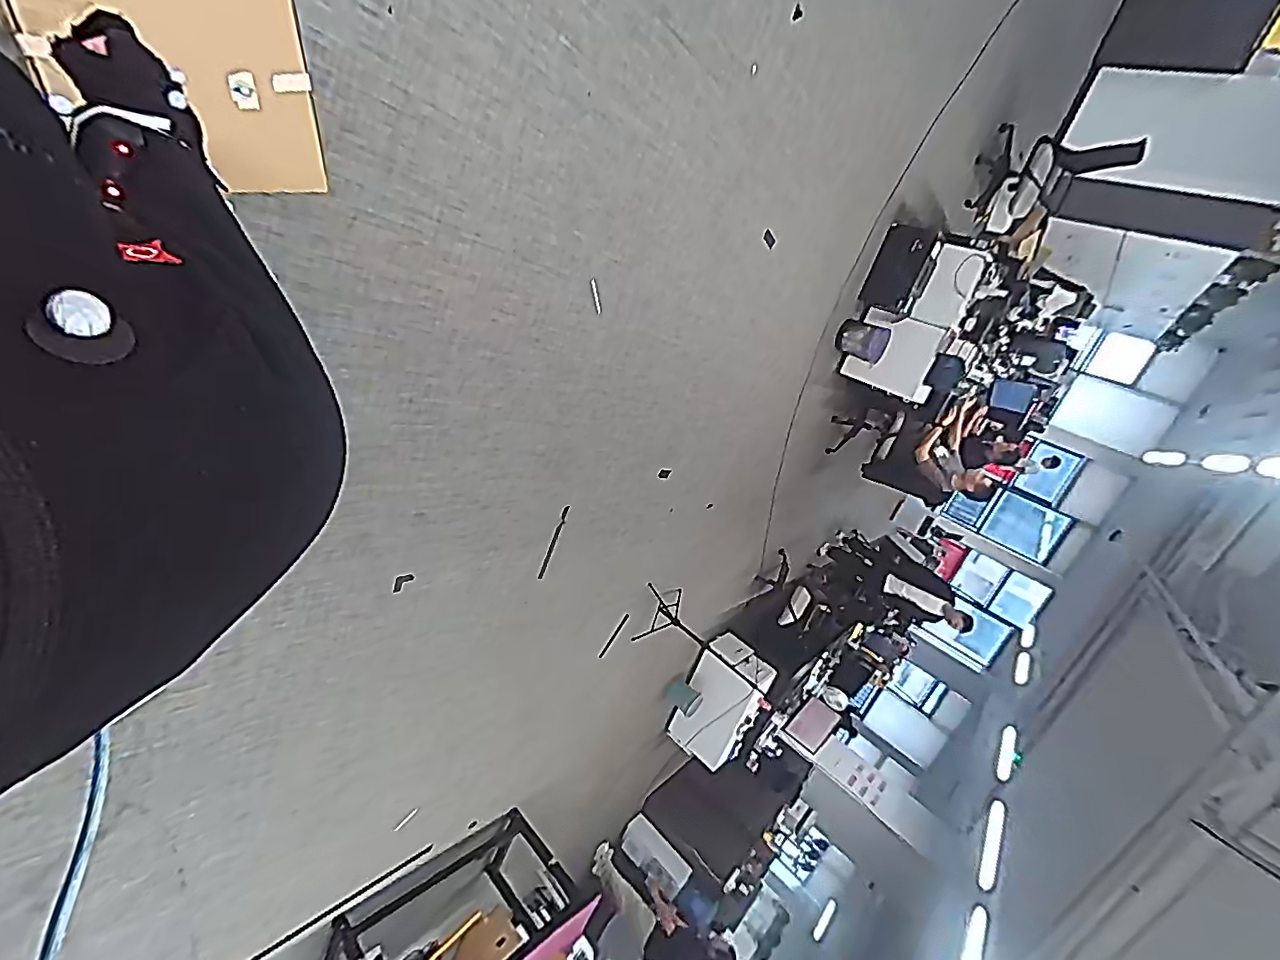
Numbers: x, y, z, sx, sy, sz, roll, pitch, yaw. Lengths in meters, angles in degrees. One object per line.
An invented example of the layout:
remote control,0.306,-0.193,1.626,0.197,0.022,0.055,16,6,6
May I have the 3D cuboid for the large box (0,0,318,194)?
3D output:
large box,-0.770,-0.651,0.857,0.320,0.408,0.320,-23,133,-38
